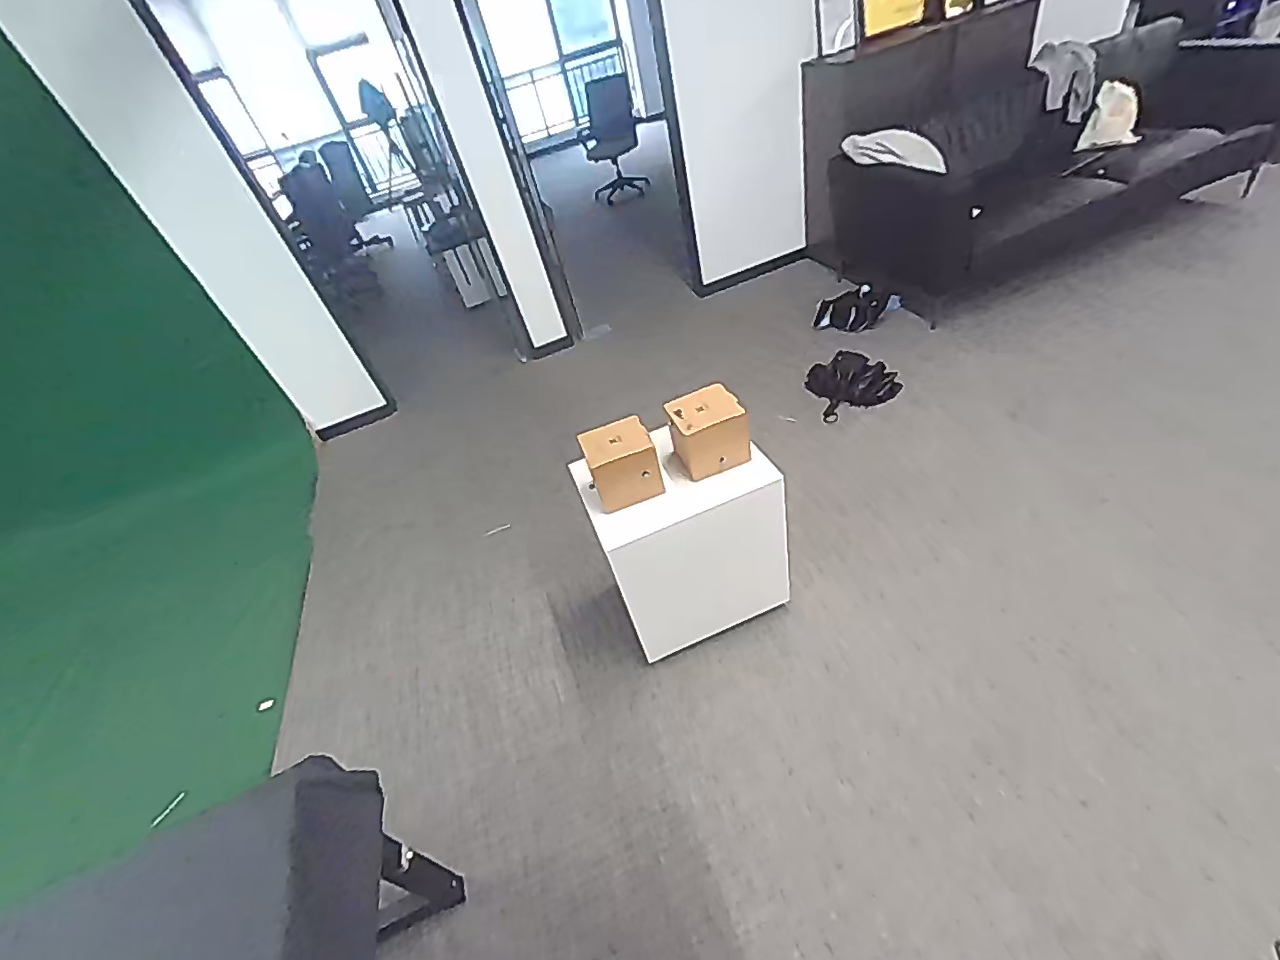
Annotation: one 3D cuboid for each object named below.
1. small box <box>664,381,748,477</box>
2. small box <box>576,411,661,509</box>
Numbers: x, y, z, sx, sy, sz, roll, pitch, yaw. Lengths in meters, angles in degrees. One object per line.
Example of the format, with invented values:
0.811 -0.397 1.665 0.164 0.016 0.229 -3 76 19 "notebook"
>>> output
0.182 -0.137 1.473 0.179 0.176 0.168 -20 42 -6 "small box"
-0.052 -0.054 1.451 0.179 0.176 0.168 -21 41 -6 "small box"
